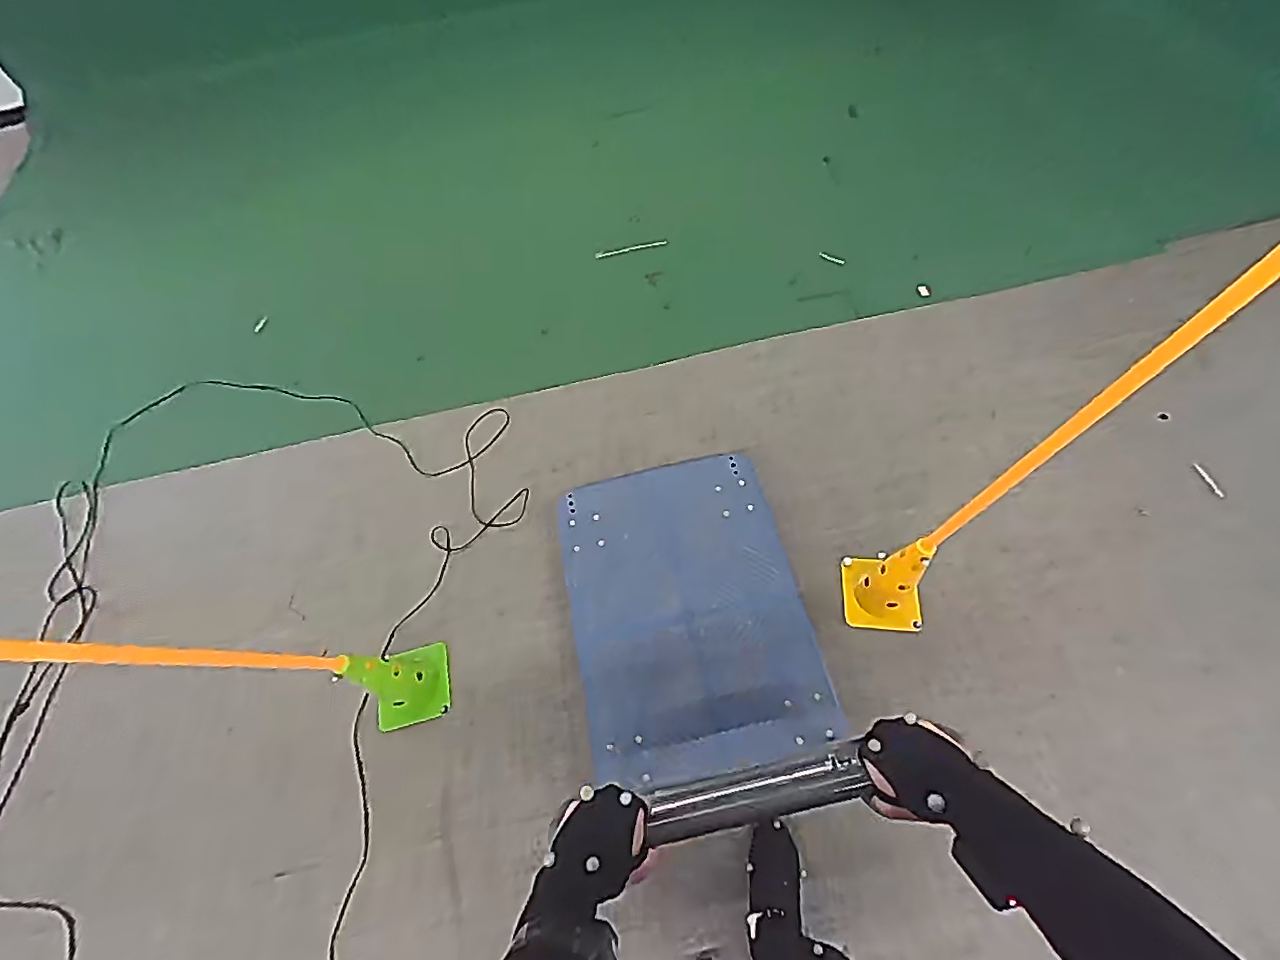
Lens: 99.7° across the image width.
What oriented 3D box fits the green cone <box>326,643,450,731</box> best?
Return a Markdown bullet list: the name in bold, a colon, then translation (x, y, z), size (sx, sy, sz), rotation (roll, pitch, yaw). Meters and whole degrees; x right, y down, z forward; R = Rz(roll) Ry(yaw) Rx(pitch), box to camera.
- **green cone**: translation (-0.657, 0.495, 1.365), size (0.202, 0.368, 0.200), rotation (-17, 60, -1)
